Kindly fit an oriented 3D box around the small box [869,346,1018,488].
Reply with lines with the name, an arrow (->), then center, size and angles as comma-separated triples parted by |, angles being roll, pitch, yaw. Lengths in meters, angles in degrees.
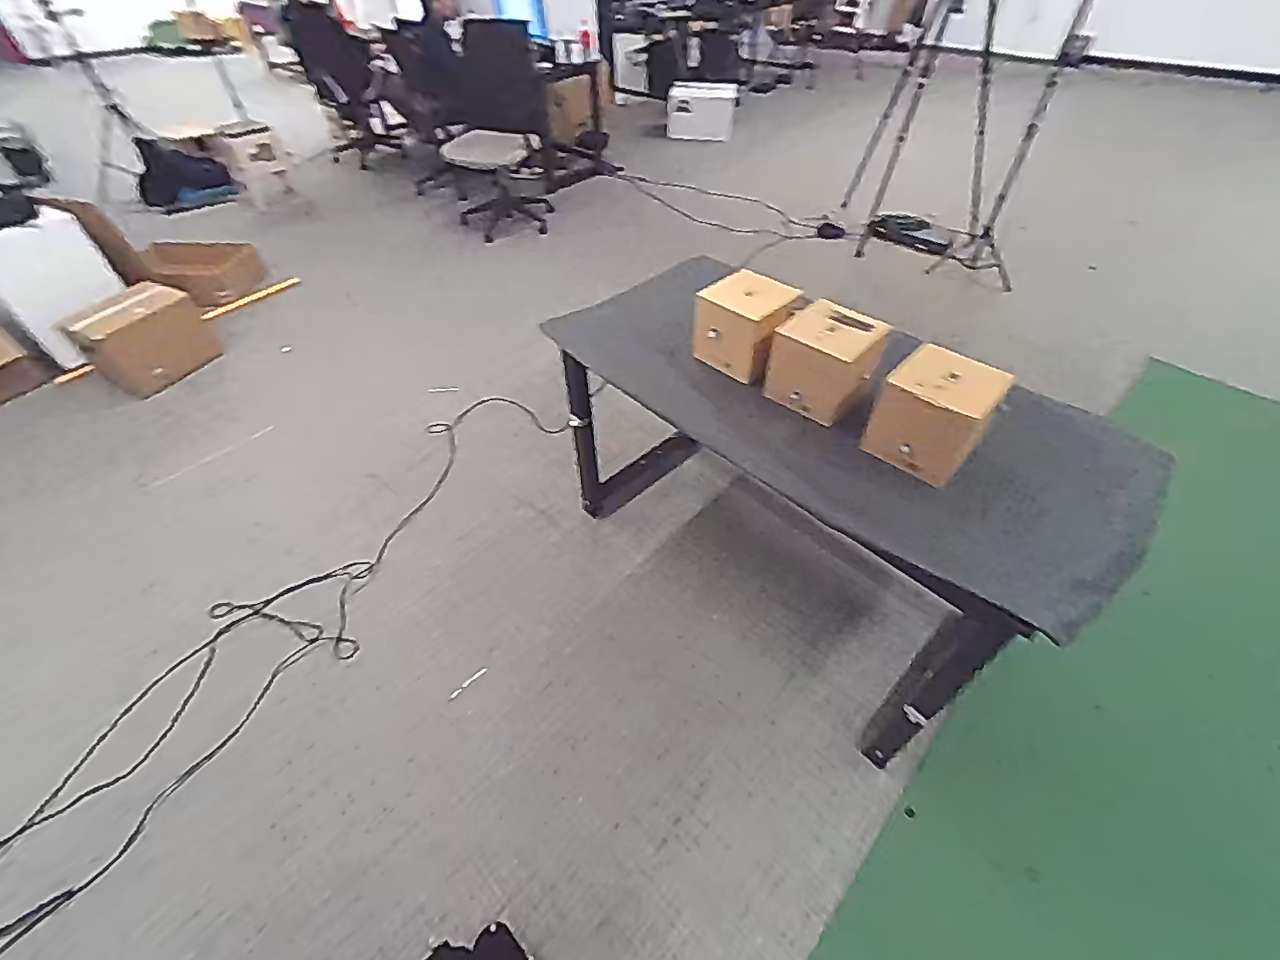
small box -> 0.563, -0.120, 1.024 | 0.179, 0.176, 0.168 | -36, 55, -29
